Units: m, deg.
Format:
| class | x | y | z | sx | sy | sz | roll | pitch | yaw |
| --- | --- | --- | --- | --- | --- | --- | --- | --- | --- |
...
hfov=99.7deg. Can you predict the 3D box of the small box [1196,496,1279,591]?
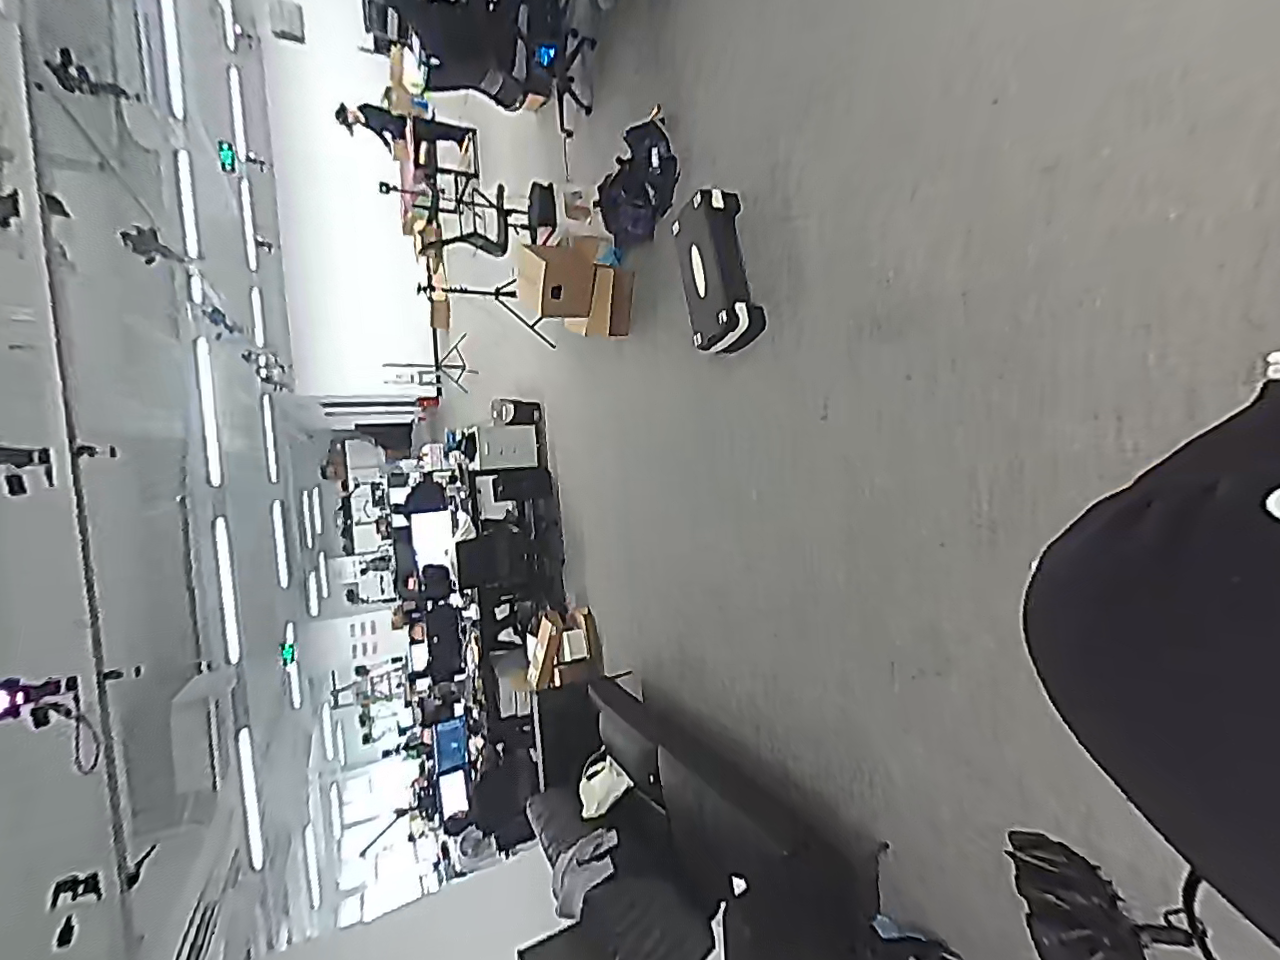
| class | x | y | z | sx | sy | sz | roll | pitch | yaw |
| --- | --- | --- | --- | --- | --- | --- | --- | --- | --- |
| small box | 1.181 | 0.131 | 1.092 | 0.179 | 0.176 | 0.168 | -29 | 68 | 62 |
